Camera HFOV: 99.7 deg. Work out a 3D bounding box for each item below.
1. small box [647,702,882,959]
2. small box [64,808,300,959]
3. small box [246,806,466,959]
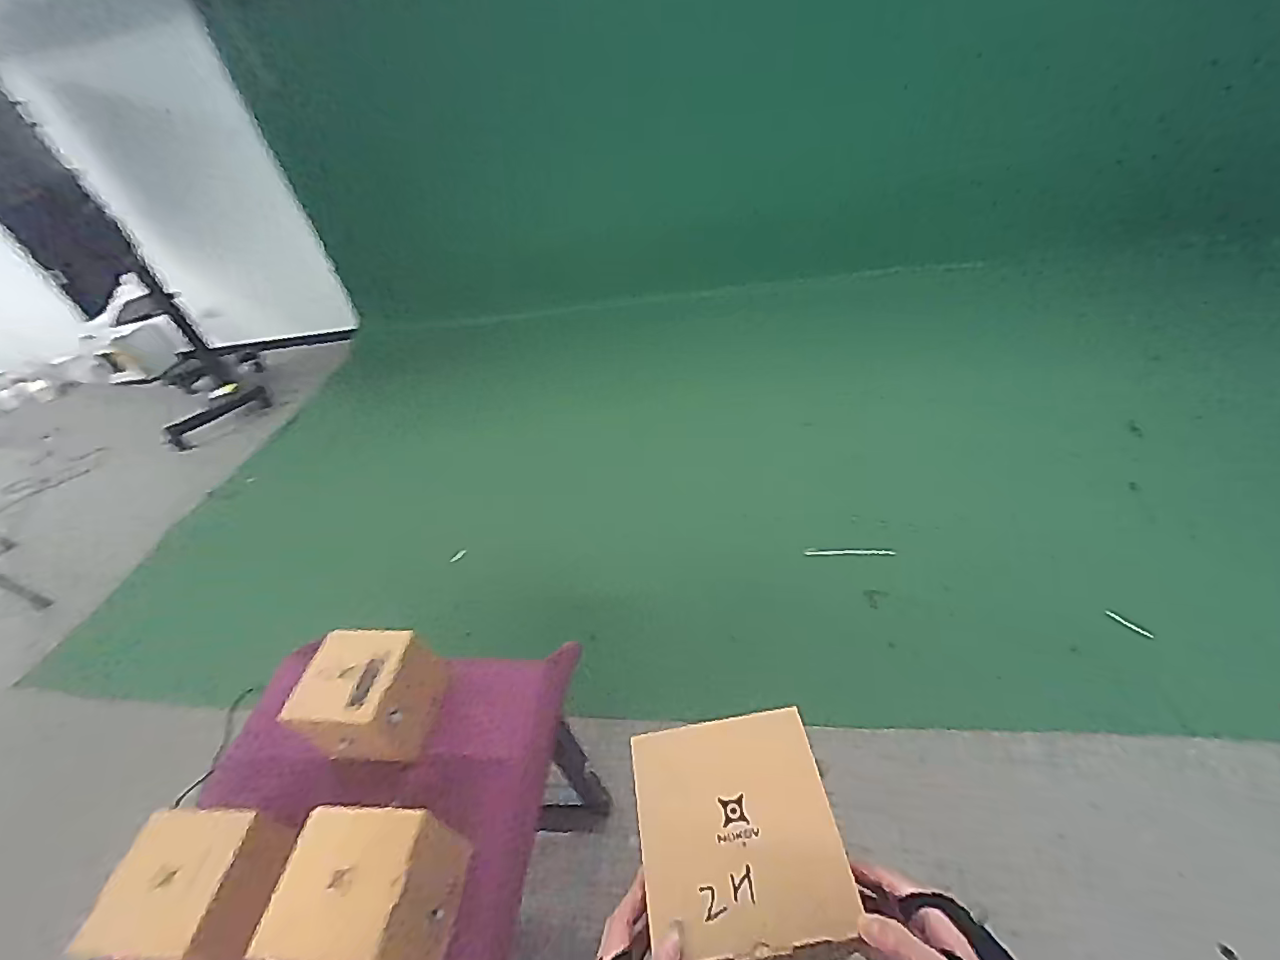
[{"bbox_3d":[0.103,0.342,0.516,0.168,0.176,0.179,-10,43,2],"label":"small box"},{"bbox_3d":[-0.631,0.596,0.783,0.179,0.176,0.168,-4,42,9],"label":"small box"},{"bbox_3d":[-0.371,0.571,0.745,0.179,0.176,0.168,-4,41,10],"label":"small box"}]
